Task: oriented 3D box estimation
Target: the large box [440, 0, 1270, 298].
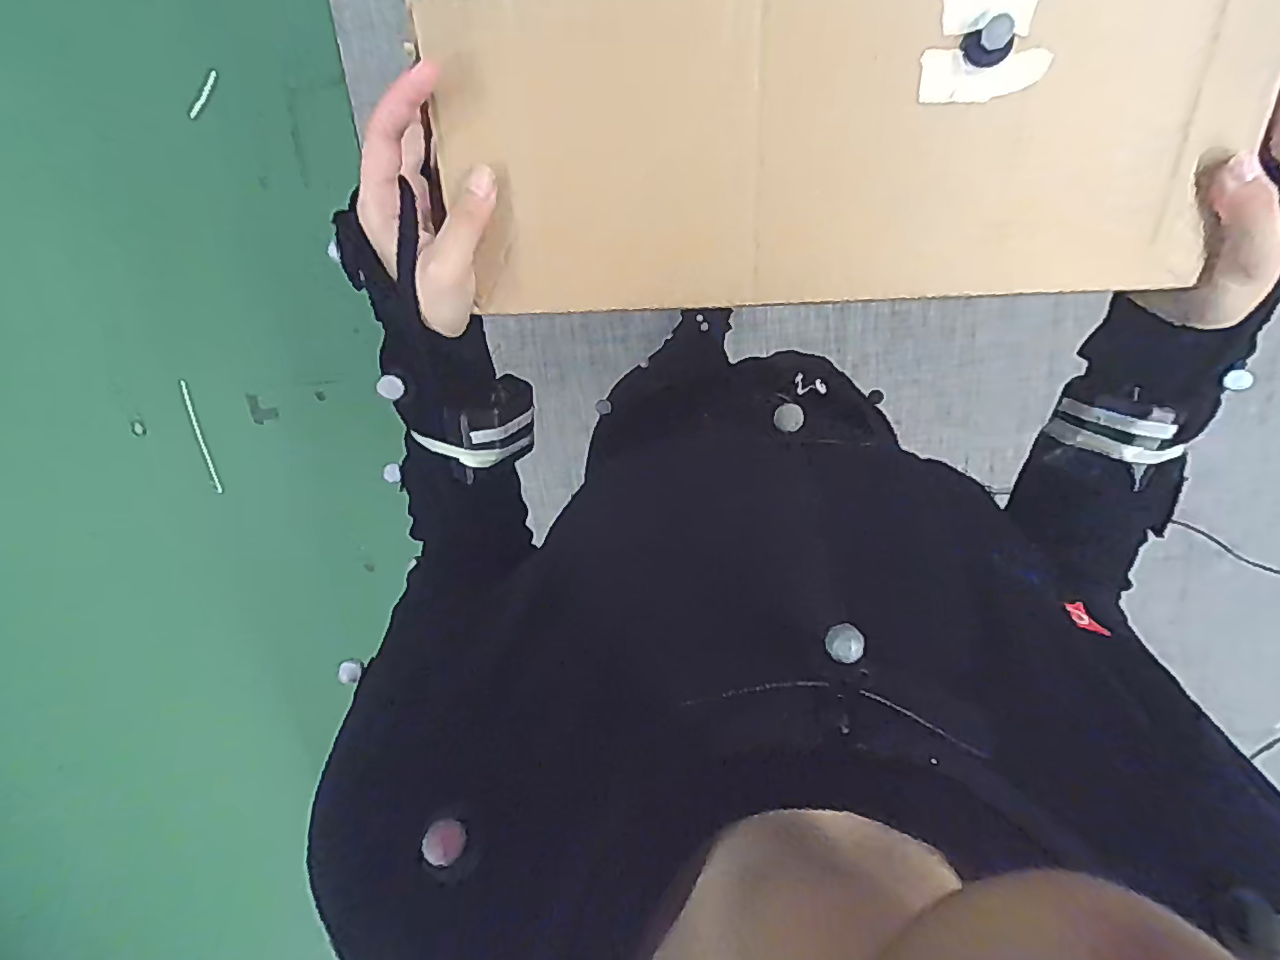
[{"bbox_3d":[0.101,-0.311,0.393,0.408,0.320,0.320,-1,111,3],"label":"large box"}]
